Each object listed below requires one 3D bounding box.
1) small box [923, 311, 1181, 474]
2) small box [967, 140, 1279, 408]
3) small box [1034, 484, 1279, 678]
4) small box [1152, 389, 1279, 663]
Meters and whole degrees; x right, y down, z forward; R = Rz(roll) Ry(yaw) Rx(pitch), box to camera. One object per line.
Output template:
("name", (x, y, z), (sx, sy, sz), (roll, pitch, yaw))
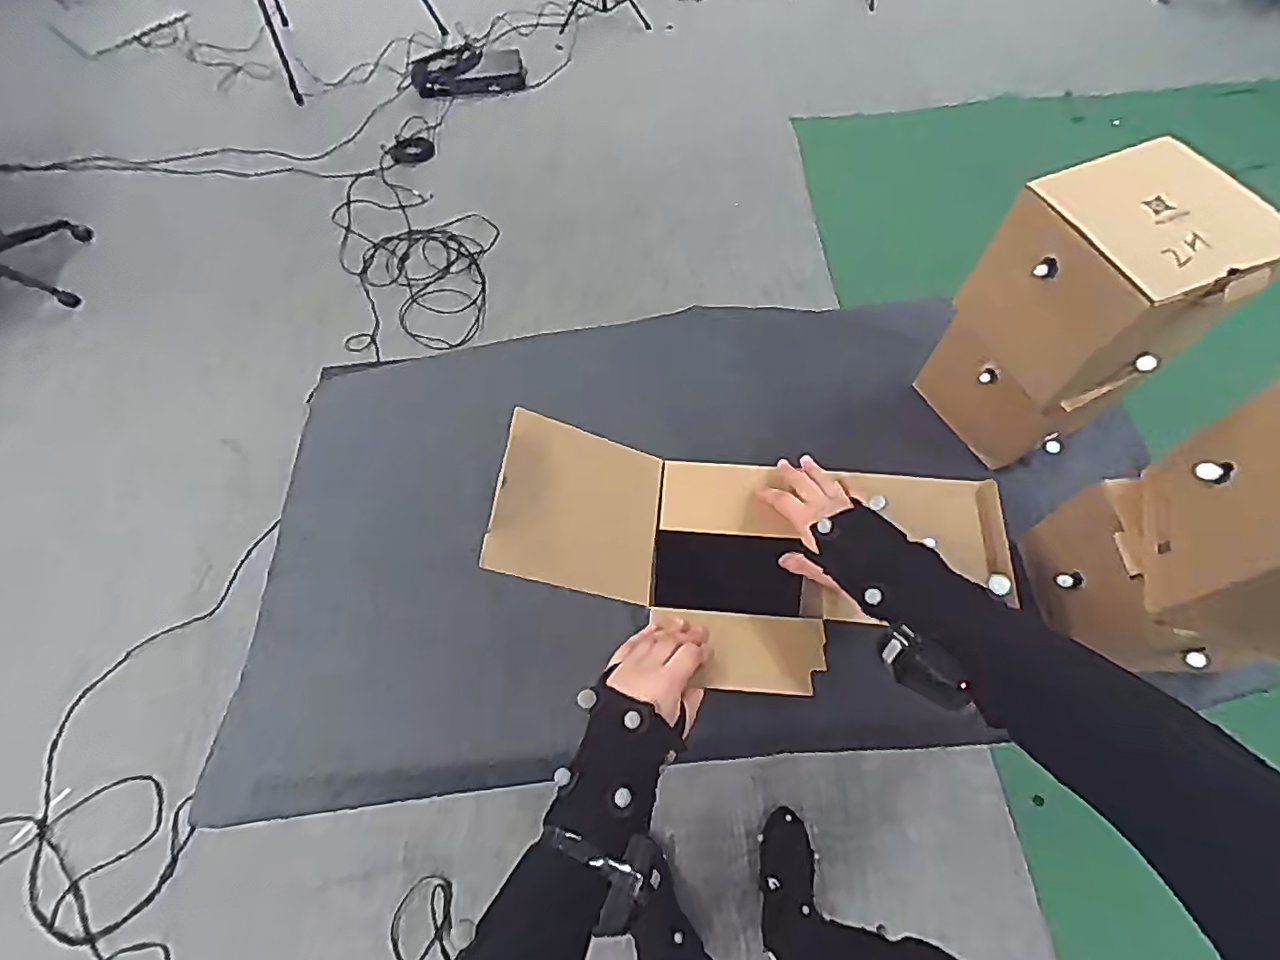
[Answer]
("small box", (0.520, -0.139, 0.718), (0.168, 0.176, 0.179), (-25, 66, -6))
("small box", (0.493, -0.208, 0.570), (0.168, 0.176, 0.179), (-20, 65, -3))
("small box", (0.571, 0.115, 0.586), (0.179, 0.176, 0.168), (0, 61, 4))
("small box", (0.566, 0.050, 0.435), (0.179, 0.176, 0.168), (19, 63, 13))
